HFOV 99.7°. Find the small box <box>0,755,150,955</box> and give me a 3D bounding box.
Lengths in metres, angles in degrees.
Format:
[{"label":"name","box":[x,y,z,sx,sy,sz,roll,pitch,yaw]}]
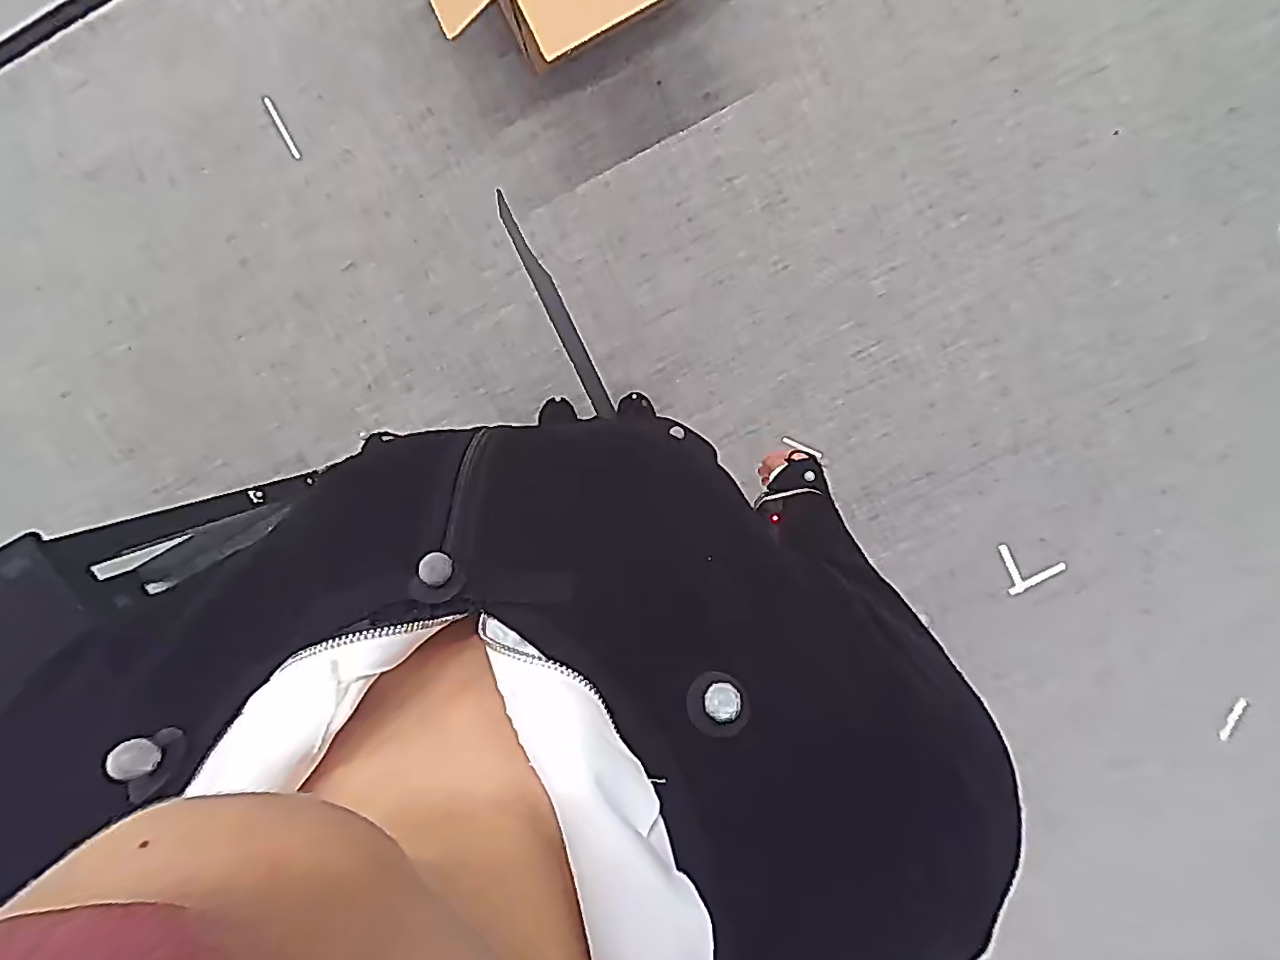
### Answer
[{"label":"small box","box":[-0.862,0.519,0.752,0.168,0.176,0.179,-27,99,5]}]
